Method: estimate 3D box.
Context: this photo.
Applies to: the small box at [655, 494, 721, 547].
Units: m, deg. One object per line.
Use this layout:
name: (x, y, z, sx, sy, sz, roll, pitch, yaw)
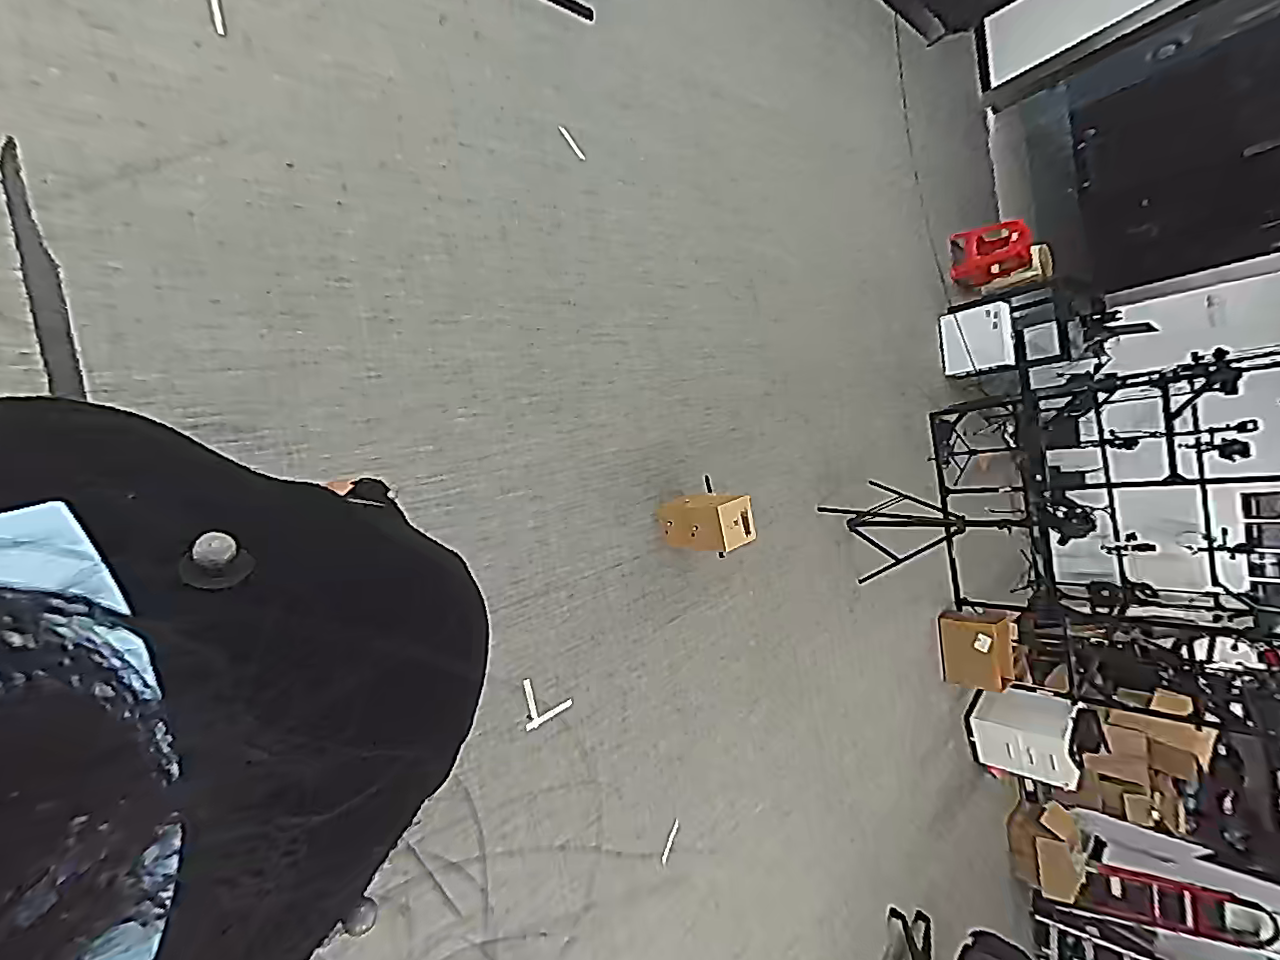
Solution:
small box: (0.186, 0.154, 2.104, 0.179, 0.176, 0.168, -21, 100, -40)
